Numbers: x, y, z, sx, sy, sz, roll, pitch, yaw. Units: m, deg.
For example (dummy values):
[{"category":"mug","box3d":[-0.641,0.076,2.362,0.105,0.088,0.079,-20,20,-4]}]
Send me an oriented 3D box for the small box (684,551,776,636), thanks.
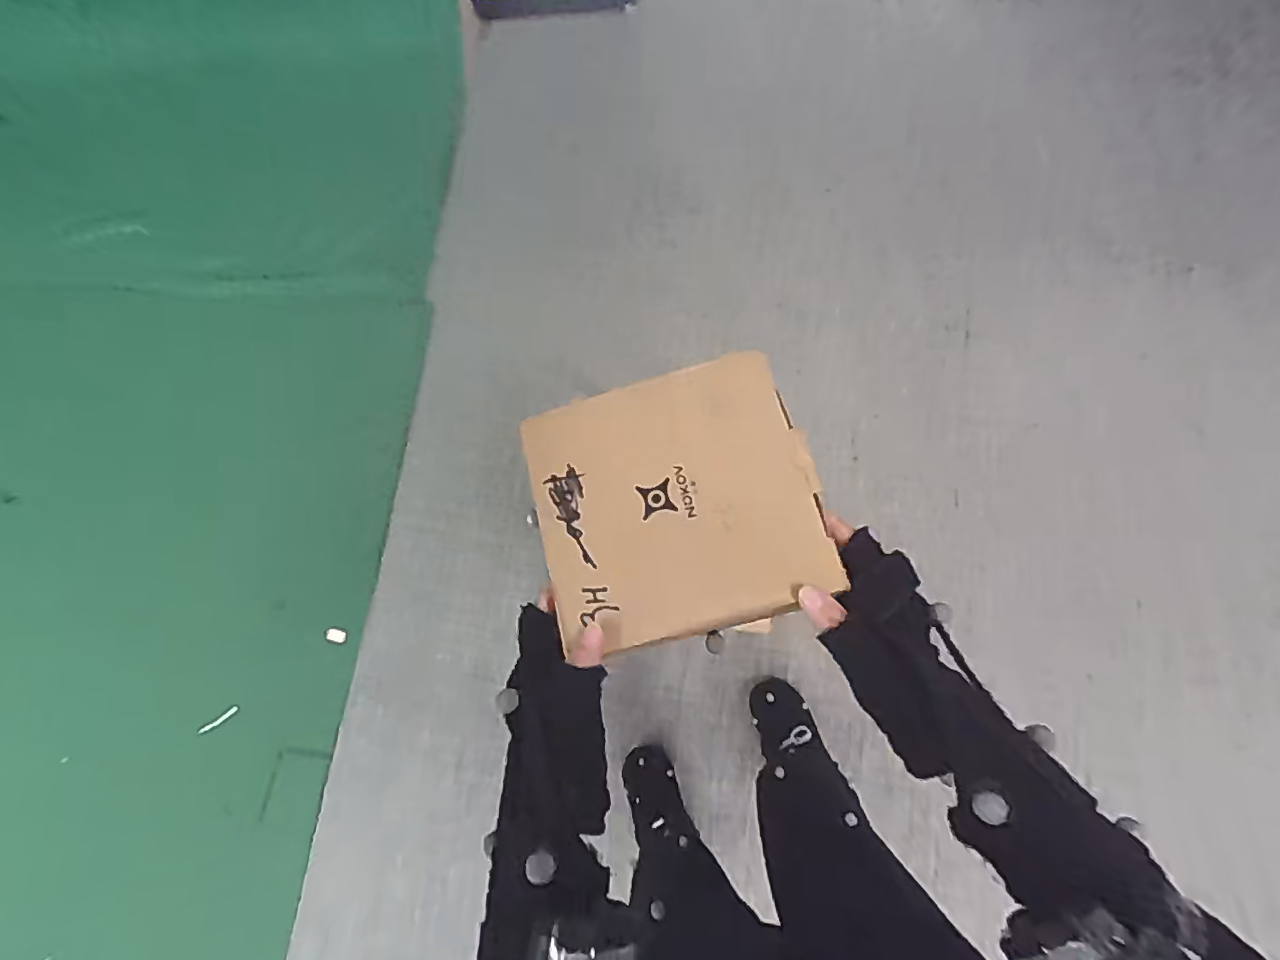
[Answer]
[{"category":"small box","box3d":[0.187,0.236,1.141,0.179,0.176,0.168,-3,78,9]}]
